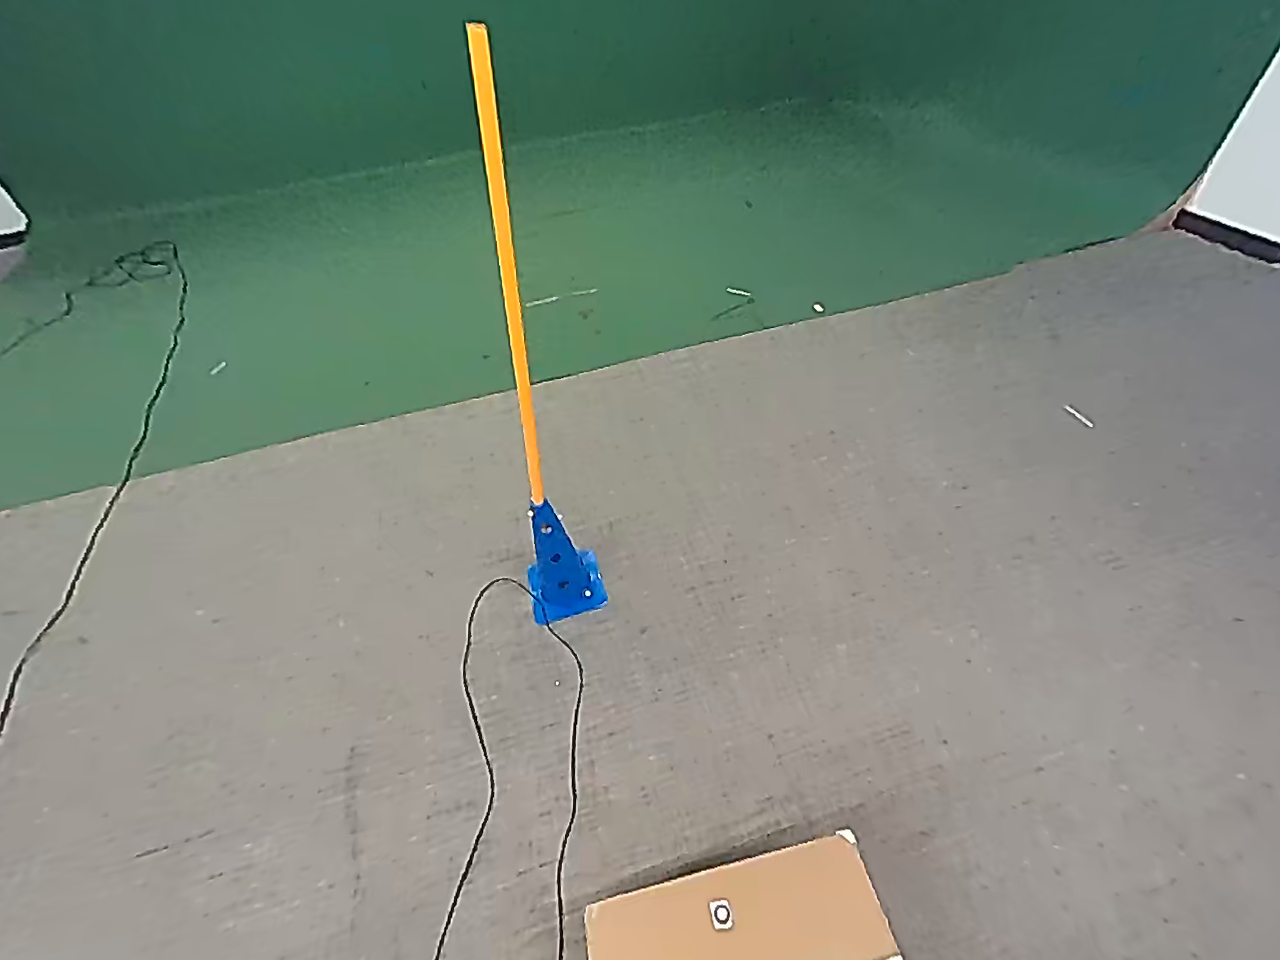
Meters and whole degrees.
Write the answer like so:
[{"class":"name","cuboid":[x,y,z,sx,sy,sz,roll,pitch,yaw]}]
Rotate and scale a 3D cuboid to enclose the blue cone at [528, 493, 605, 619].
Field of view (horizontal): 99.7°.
[{"class":"blue cone","cuboid":[-0.214,0.163,1.358,0.193,0.380,0.192,-16,47,-10]}]
